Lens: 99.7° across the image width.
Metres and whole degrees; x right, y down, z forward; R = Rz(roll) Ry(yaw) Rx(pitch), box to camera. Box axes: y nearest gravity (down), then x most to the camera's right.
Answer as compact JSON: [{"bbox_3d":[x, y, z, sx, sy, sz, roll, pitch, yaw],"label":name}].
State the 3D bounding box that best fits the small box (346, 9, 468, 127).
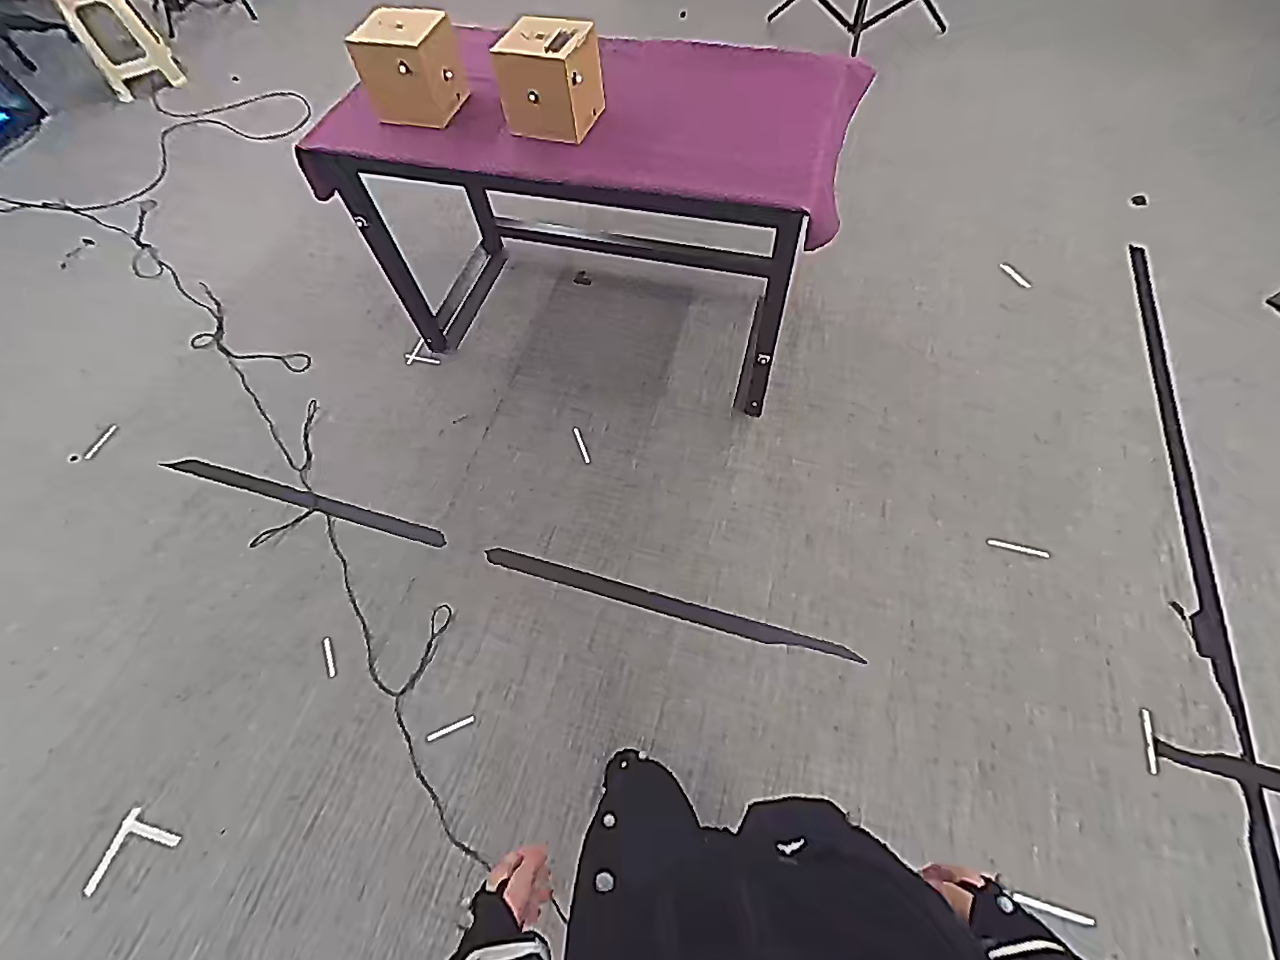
[{"bbox_3d":[-0.528,-0.953,1.257,0.179,0.176,0.168,11,61,9],"label":"small box"}]
